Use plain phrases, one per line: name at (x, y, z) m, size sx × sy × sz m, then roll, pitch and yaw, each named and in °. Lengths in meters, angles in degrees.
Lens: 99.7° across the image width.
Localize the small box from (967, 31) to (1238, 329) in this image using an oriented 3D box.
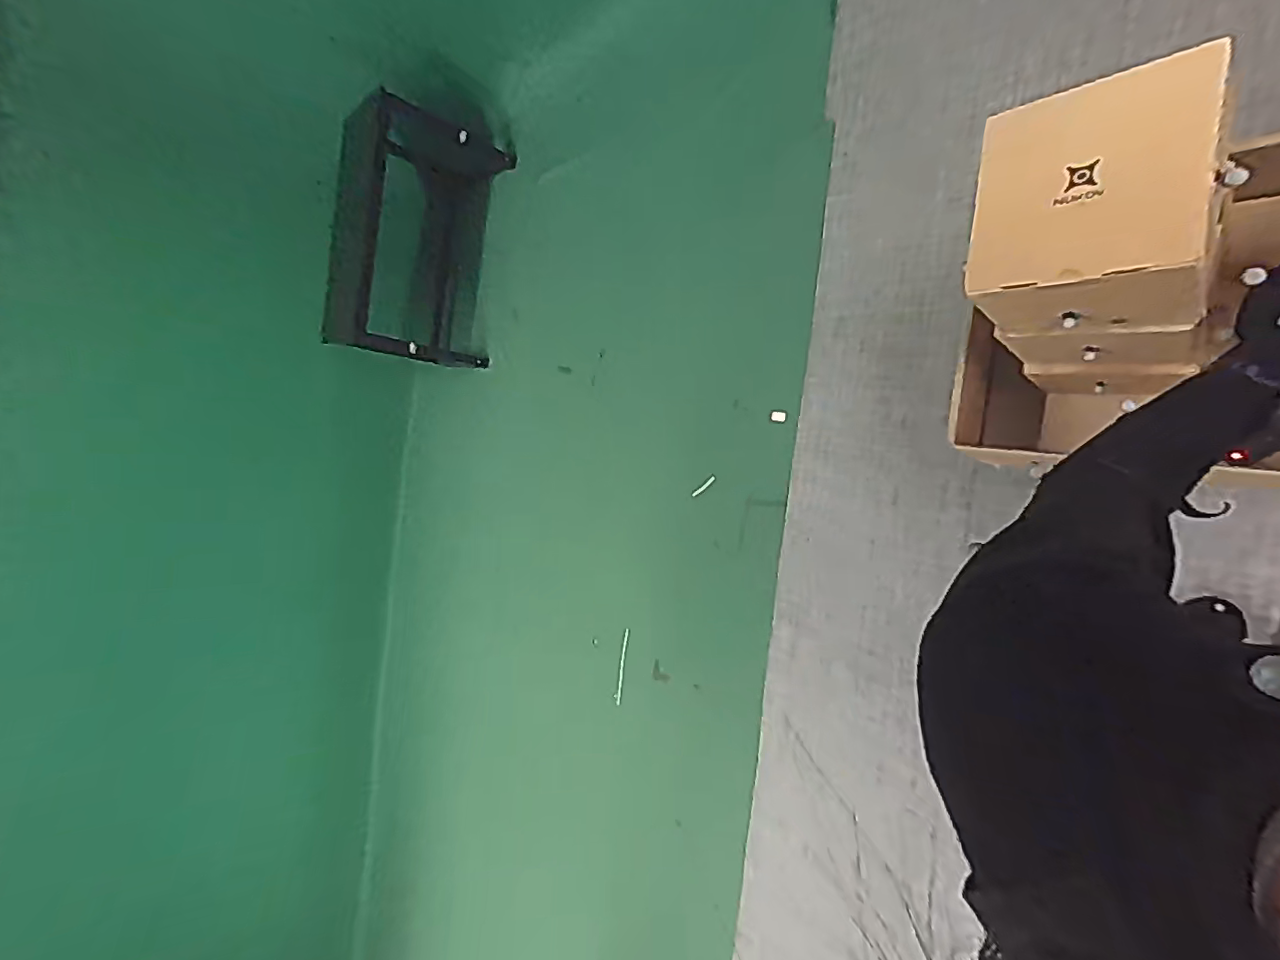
small box at (0.445, -0.262, 0.526) m, size 0.168 × 0.176 × 0.179 m, roll 8°, pitch 93°, yaw 47°
